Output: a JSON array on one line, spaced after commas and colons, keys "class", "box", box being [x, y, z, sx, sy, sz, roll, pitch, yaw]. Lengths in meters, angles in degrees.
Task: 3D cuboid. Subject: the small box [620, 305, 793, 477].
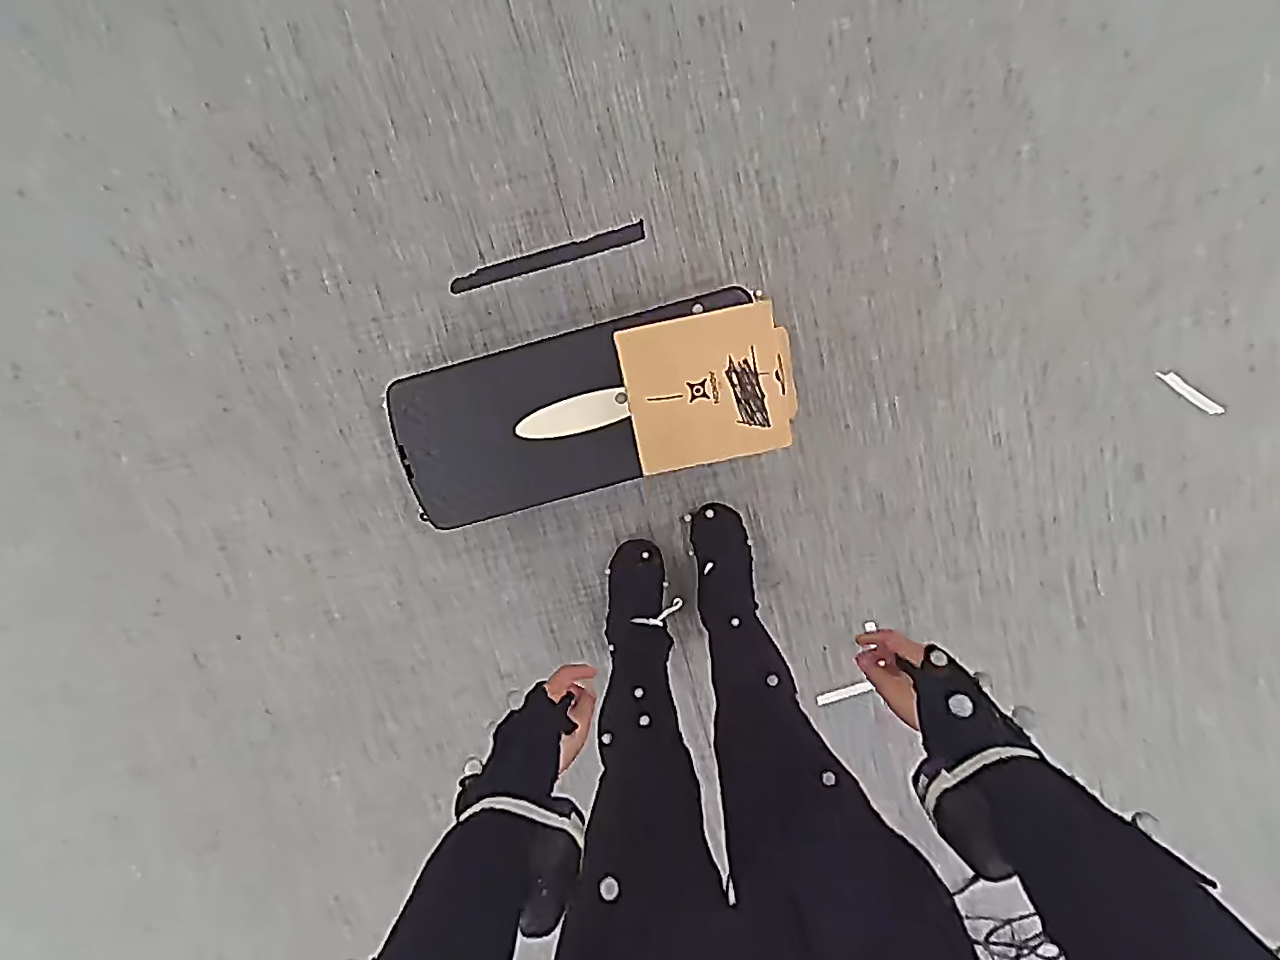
[{"class": "small box", "box": [0.073, -0.112, 0.677, 0.179, 0.176, 0.168, -11, 100, 1]}]
